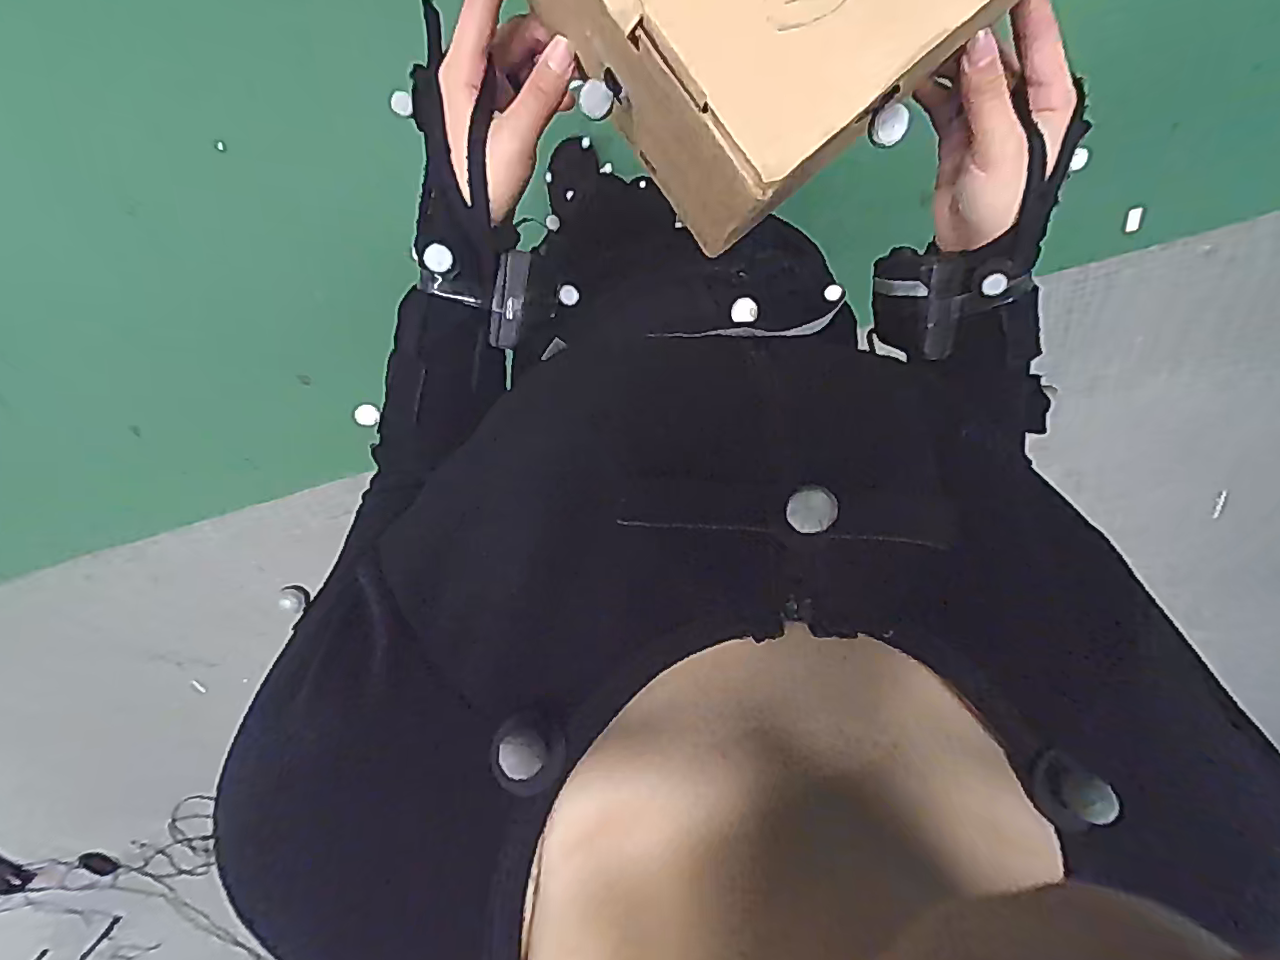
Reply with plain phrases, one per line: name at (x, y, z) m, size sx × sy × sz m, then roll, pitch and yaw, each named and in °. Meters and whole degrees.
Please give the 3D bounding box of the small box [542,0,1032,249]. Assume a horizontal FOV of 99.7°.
small box at (0.055, -0.218, 0.209) m, size 0.179 × 0.176 × 0.168 m, roll -36°, pitch 101°, yaw 12°
